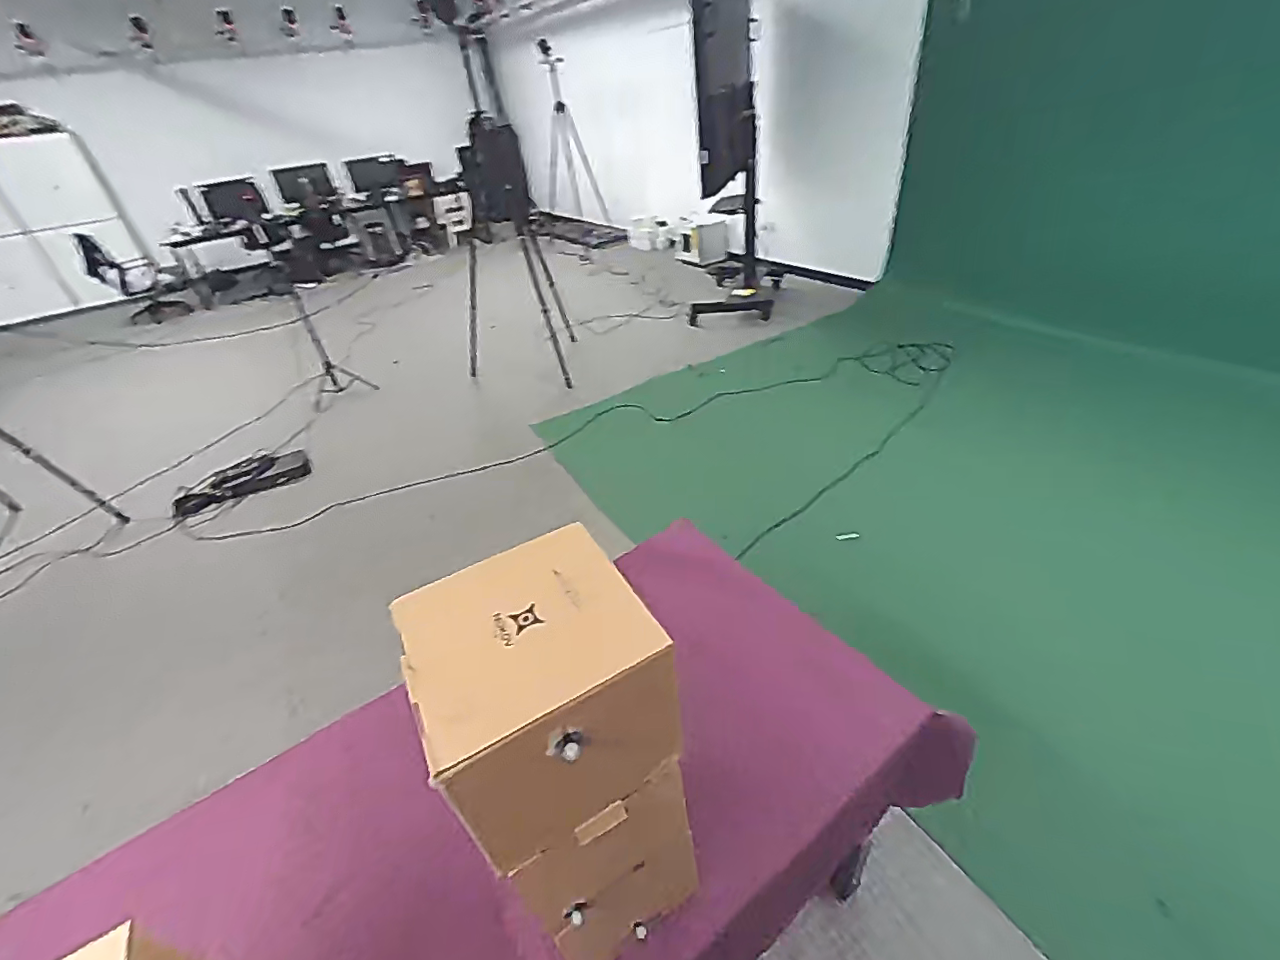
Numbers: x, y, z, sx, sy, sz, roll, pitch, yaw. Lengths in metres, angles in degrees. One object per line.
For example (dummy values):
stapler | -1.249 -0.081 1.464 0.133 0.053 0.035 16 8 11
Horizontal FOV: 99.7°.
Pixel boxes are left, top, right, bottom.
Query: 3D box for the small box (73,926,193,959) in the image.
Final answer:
small box | -0.415 0.488 0.385 0.168 0.176 0.179 -25 39 -23

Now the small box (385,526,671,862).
small box | -0.088 0.176 0.463 0.179 0.176 0.168 -23 40 -20

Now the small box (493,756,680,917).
small box | -0.073 0.305 0.562 0.168 0.176 0.179 -24 38 -20
